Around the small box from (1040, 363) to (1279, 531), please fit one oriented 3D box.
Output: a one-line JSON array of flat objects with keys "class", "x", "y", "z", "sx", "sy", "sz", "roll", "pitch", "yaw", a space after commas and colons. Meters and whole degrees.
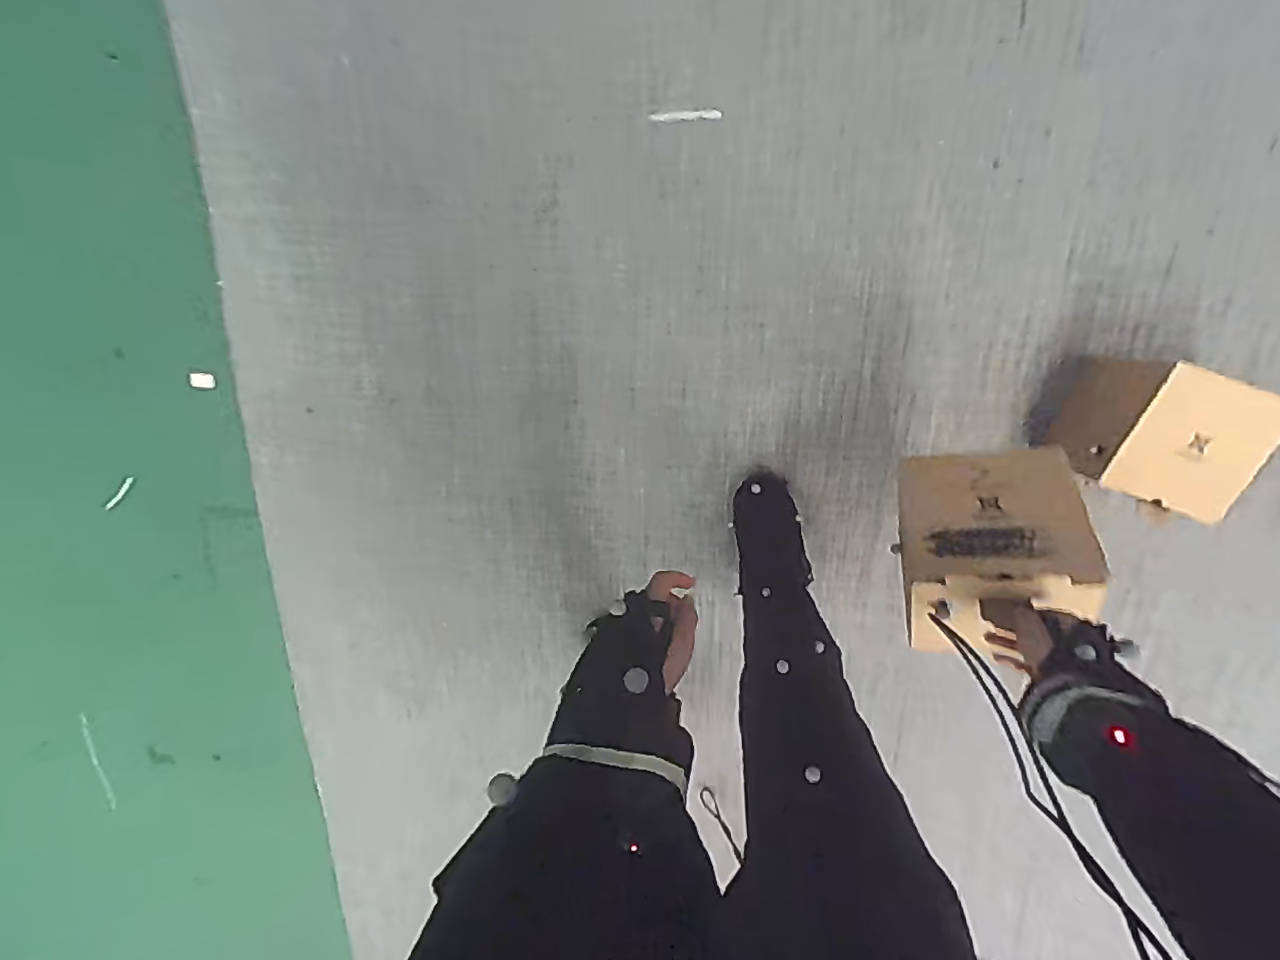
[{"class": "small box", "x": 0.729, "y": -0.058, "z": 0.774, "sx": 0.168, "sy": 0.176, "sz": 0.179, "roll": 21, "pitch": 108, "yaw": 3}]
